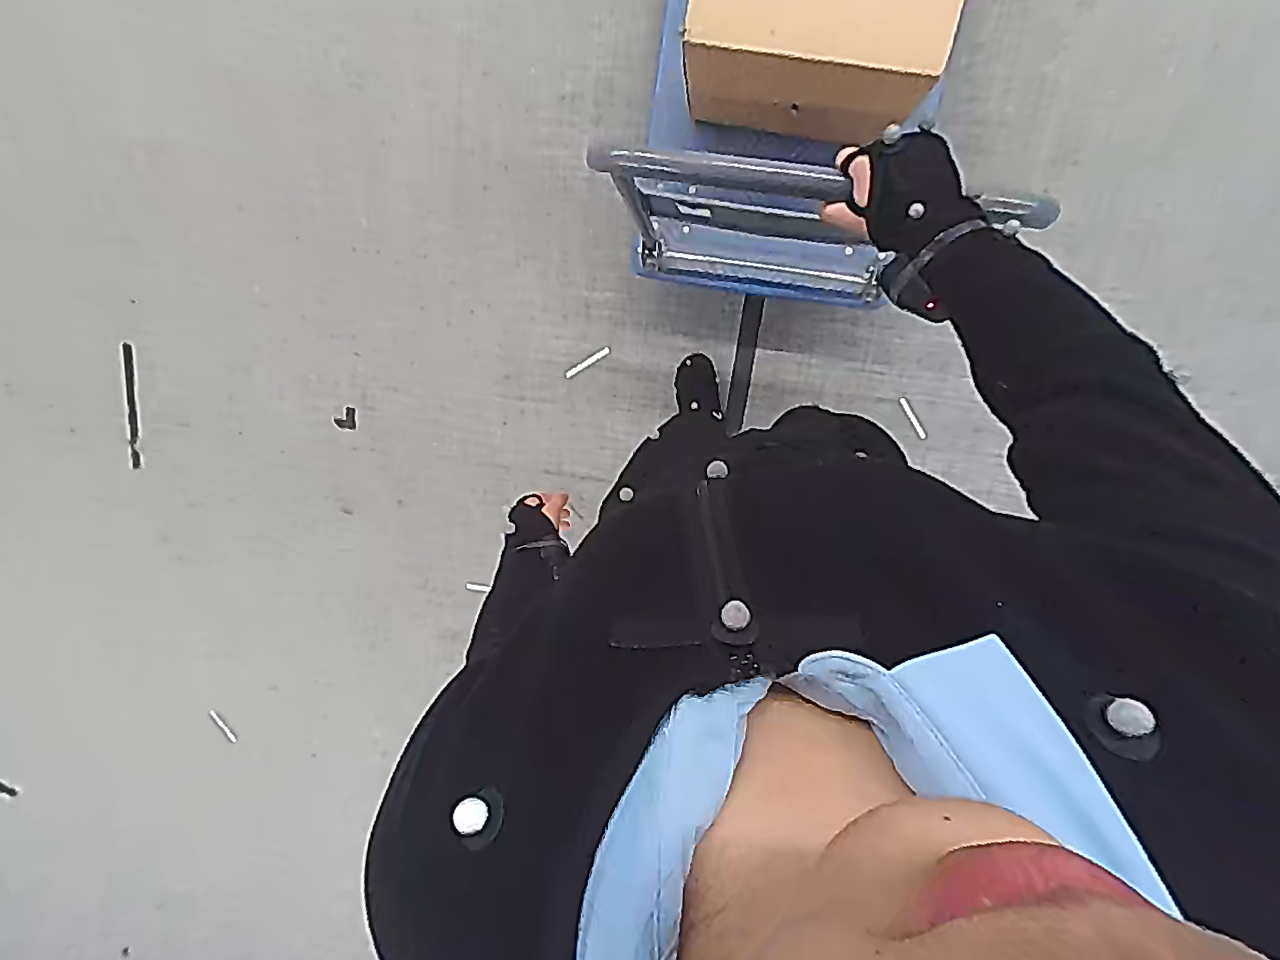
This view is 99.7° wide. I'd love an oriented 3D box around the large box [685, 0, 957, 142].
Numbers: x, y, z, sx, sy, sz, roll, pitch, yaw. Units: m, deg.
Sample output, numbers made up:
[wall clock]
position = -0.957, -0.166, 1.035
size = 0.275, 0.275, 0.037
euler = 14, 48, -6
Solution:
[large box]
position = 0.314, -0.840, 0.956
size = 0.408, 0.320, 0.320
euler = 12, 104, 6
